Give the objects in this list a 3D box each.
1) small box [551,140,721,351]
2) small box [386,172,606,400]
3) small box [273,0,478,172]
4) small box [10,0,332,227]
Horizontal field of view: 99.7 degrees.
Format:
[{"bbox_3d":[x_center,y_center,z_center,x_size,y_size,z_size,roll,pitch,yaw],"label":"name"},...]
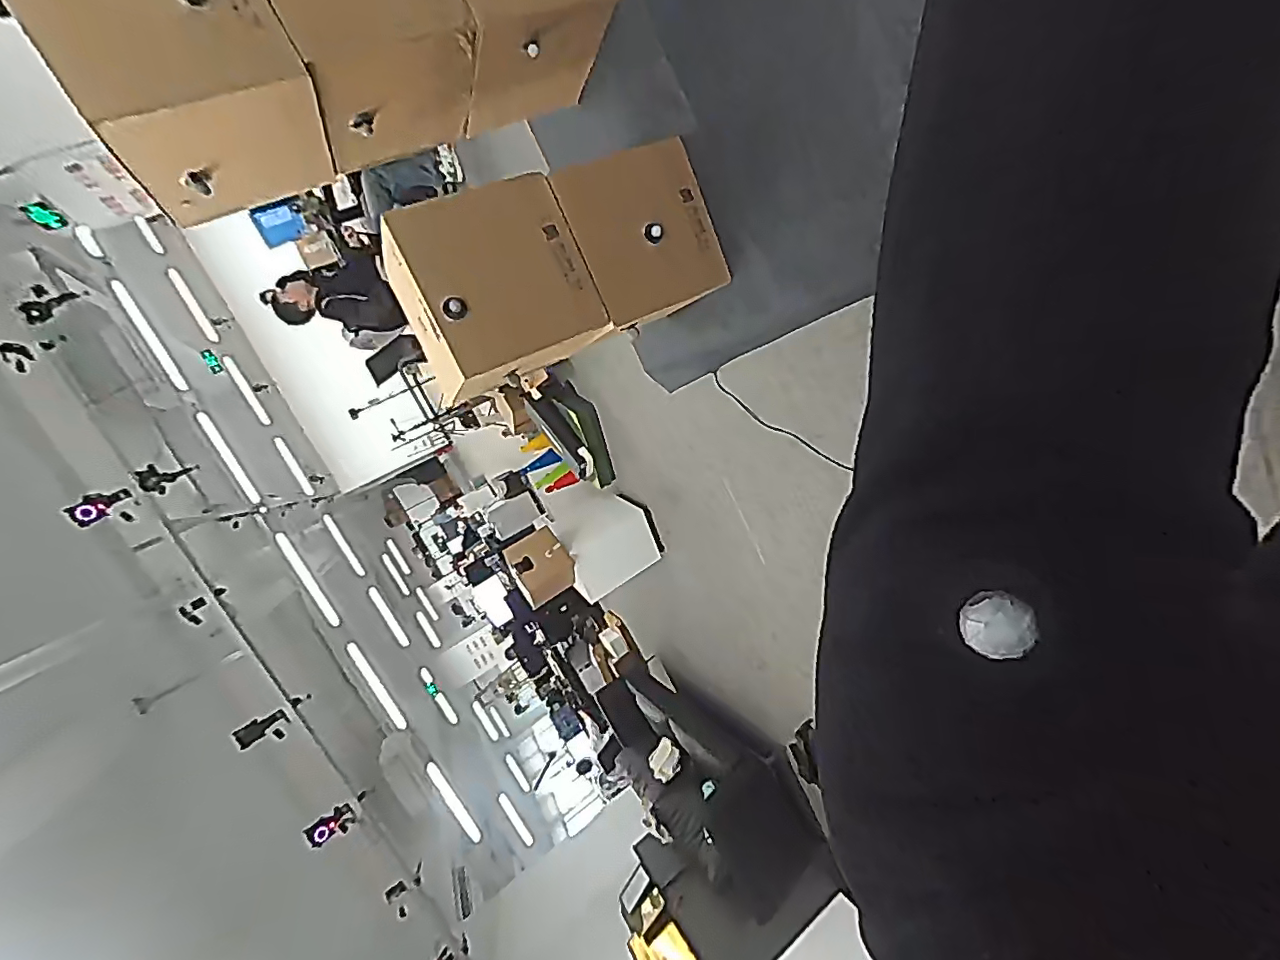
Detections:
[{"bbox_3d":[-0.021,-0.277,0.660,0.179,0.176,0.168,5,121,65],"label":"small box"},{"bbox_3d":[-0.158,-0.206,0.605,0.168,0.176,0.179,64,160,-9],"label":"small box"},{"bbox_3d":[-0.283,-0.460,0.549,0.168,0.176,0.179,59,159,-9],"label":"small box"},{"bbox_3d":[-0.408,-0.370,0.491,0.168,0.176,0.179,60,159,-11],"label":"small box"}]
